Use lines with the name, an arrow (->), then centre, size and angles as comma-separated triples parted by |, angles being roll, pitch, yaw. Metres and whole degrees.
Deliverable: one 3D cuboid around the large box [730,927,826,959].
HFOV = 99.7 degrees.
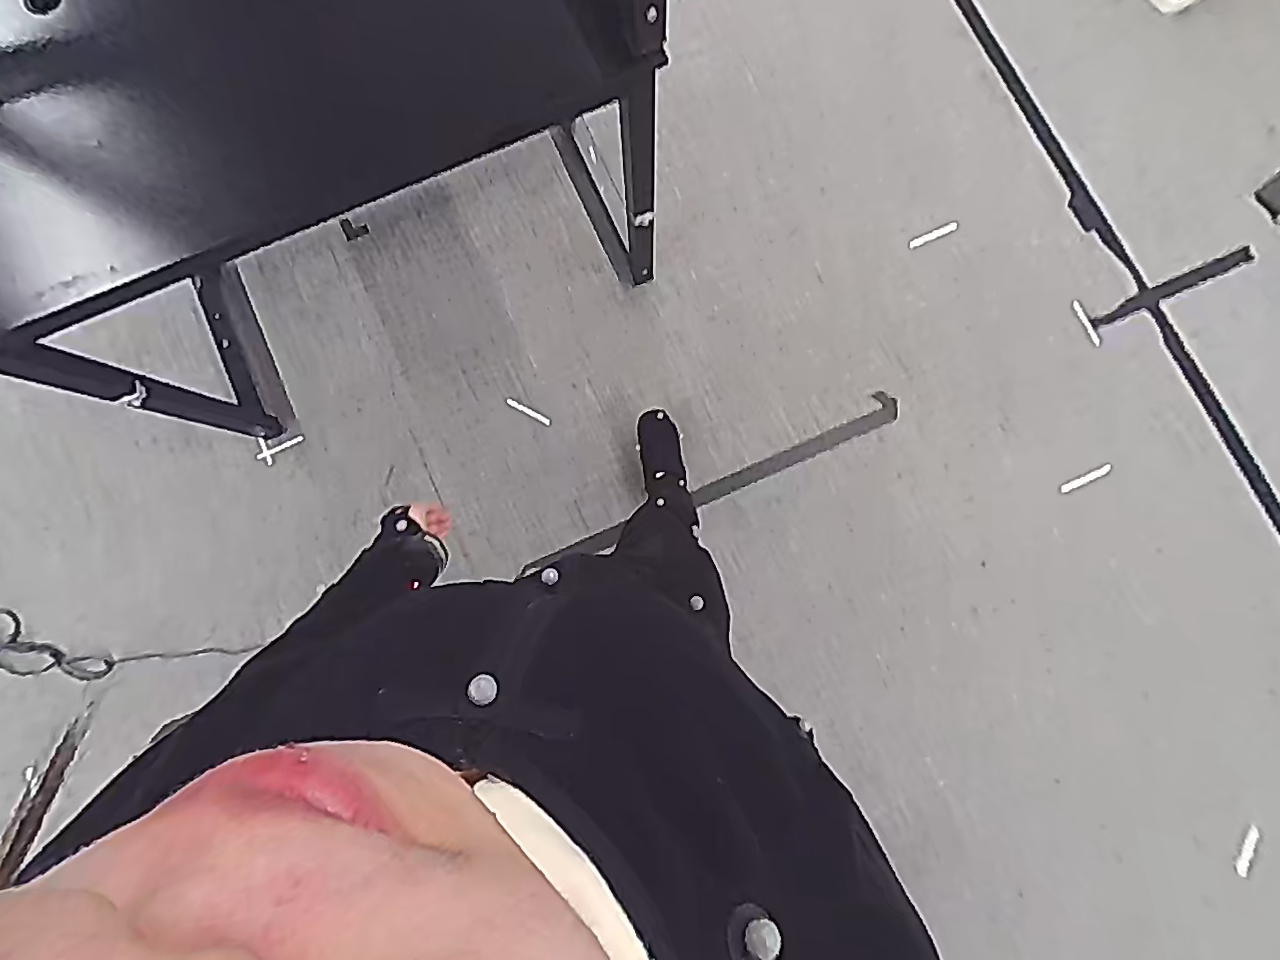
large box -> 0.243, 1.174, 1.021 | 0.408, 0.320, 0.320 | -21, 84, -3
